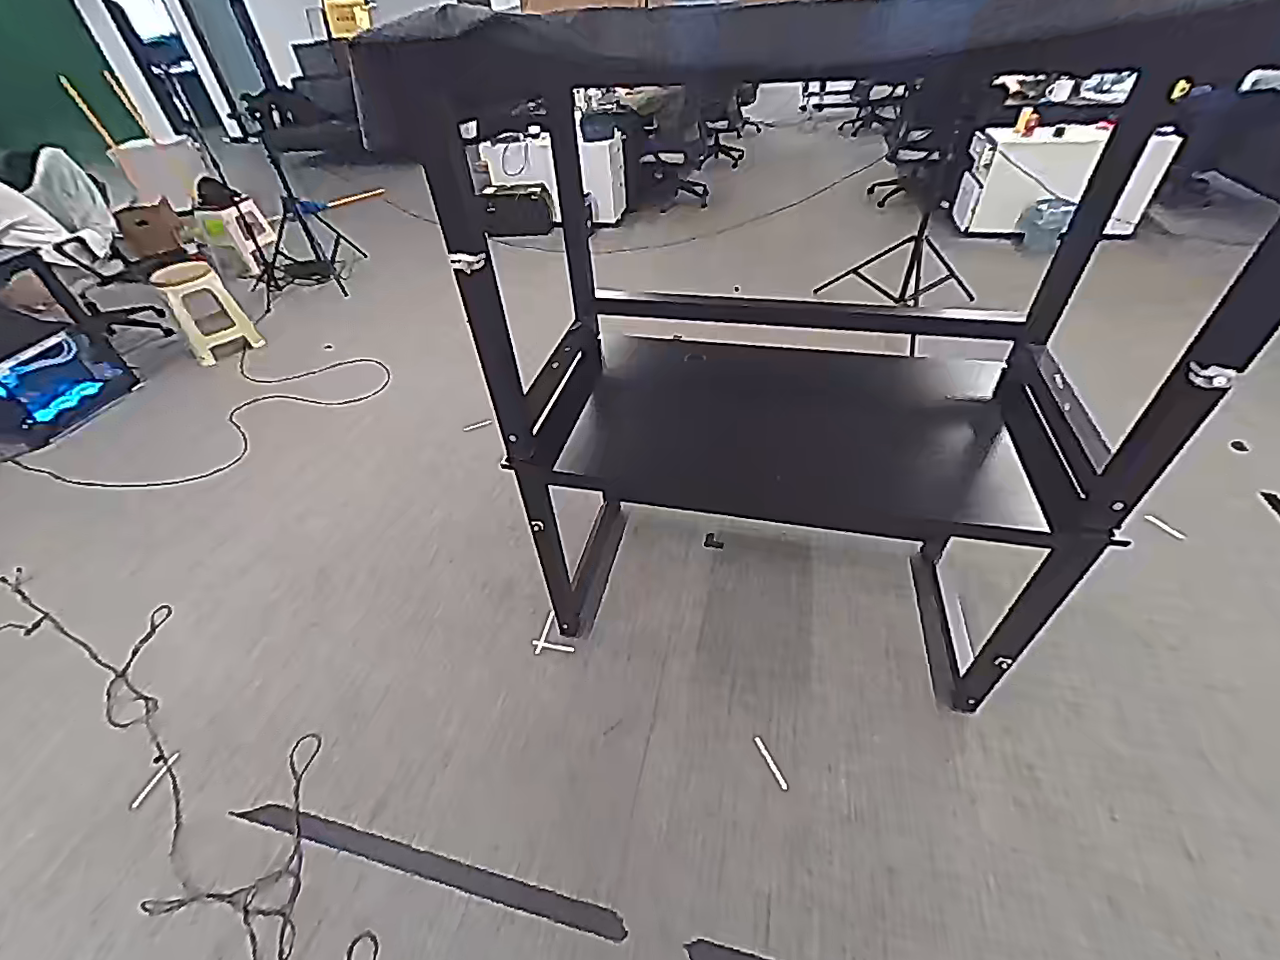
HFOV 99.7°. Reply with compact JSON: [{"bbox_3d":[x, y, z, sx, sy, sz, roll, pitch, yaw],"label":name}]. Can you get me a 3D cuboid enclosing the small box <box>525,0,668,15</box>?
[{"bbox_3d":[-0.054,-0.697,0.675,0.168,0.176,0.179,8,43,10],"label":"small box"}]
